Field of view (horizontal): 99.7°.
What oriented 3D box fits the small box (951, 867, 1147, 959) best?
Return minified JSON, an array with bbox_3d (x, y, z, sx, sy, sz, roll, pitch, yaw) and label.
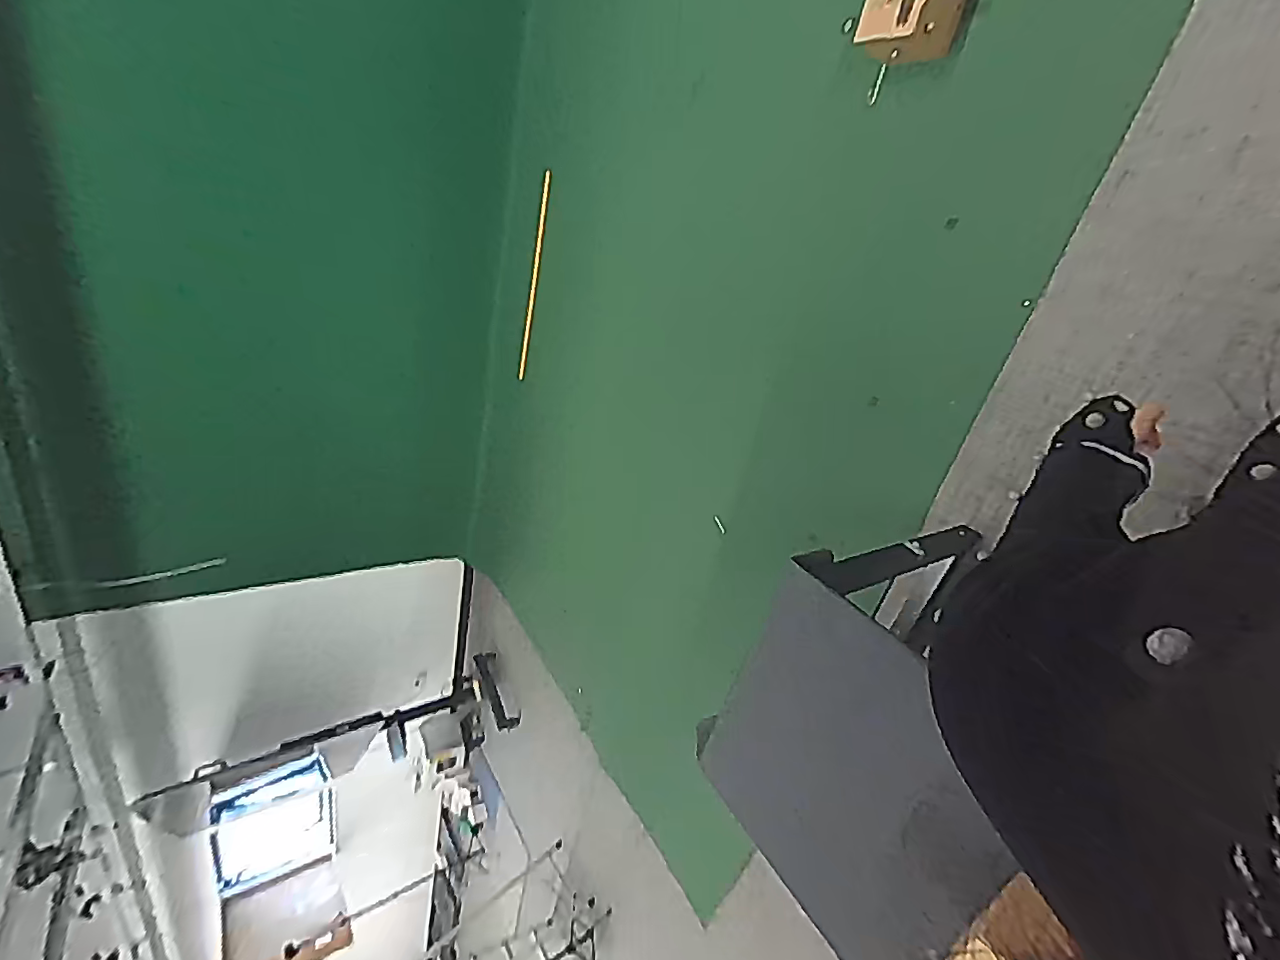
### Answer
[{"bbox_3d":[0.500,0.634,0.662,0.168,0.176,0.179,41,127,43],"label":"small box"}]
